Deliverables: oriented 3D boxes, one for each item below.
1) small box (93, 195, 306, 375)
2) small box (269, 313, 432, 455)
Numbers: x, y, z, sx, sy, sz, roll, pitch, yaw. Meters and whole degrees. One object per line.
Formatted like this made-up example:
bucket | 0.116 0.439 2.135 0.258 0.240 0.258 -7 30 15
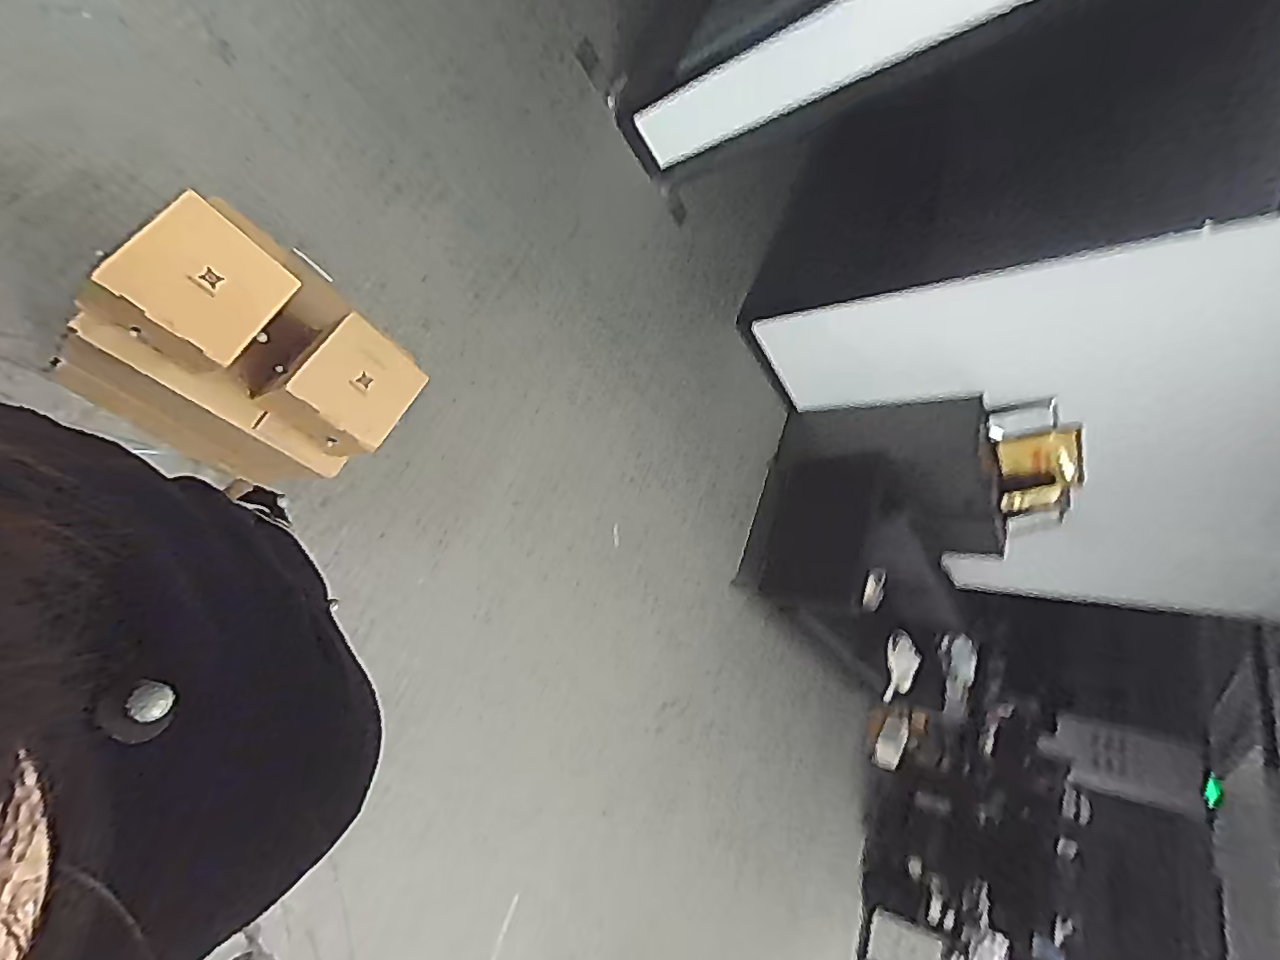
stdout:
small box | -0.648 -0.275 0.797 0.168 0.176 0.179 46 59 -41
small box | -0.513 -0.159 0.954 0.168 0.176 0.179 48 54 -37
